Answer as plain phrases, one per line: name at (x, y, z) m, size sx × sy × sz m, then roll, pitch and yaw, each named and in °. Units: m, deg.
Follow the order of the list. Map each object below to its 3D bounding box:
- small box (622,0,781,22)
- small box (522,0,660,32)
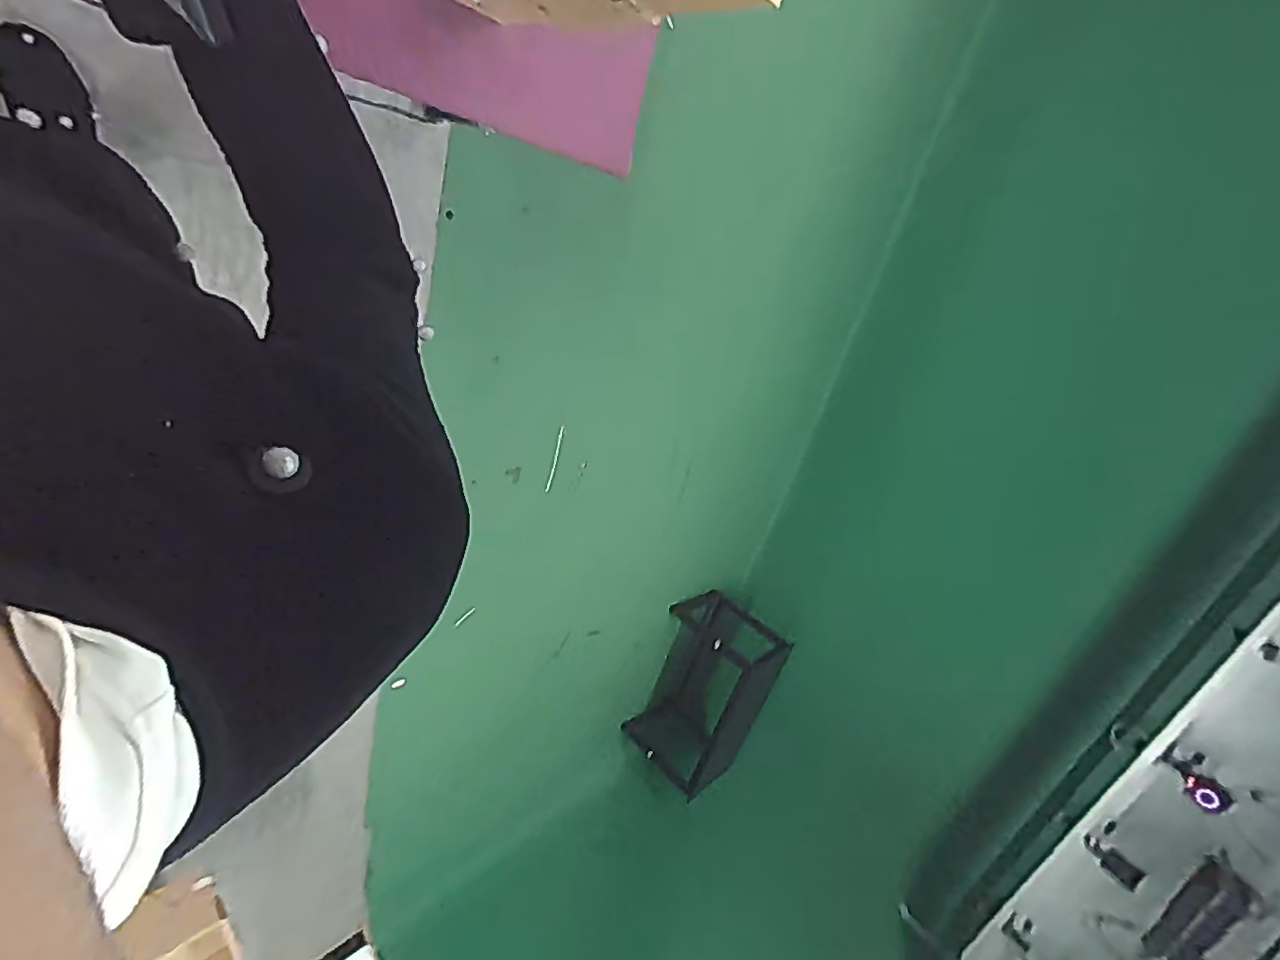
small box at (0.043, -0.553, 0.480) m, size 0.168 × 0.176 × 0.179 m, roll -9°, pitch 122°, yaw -47°
small box at (-0.071, -0.618, 0.578) m, size 0.168 × 0.176 × 0.179 m, roll -11°, pitch 123°, yaw -47°
